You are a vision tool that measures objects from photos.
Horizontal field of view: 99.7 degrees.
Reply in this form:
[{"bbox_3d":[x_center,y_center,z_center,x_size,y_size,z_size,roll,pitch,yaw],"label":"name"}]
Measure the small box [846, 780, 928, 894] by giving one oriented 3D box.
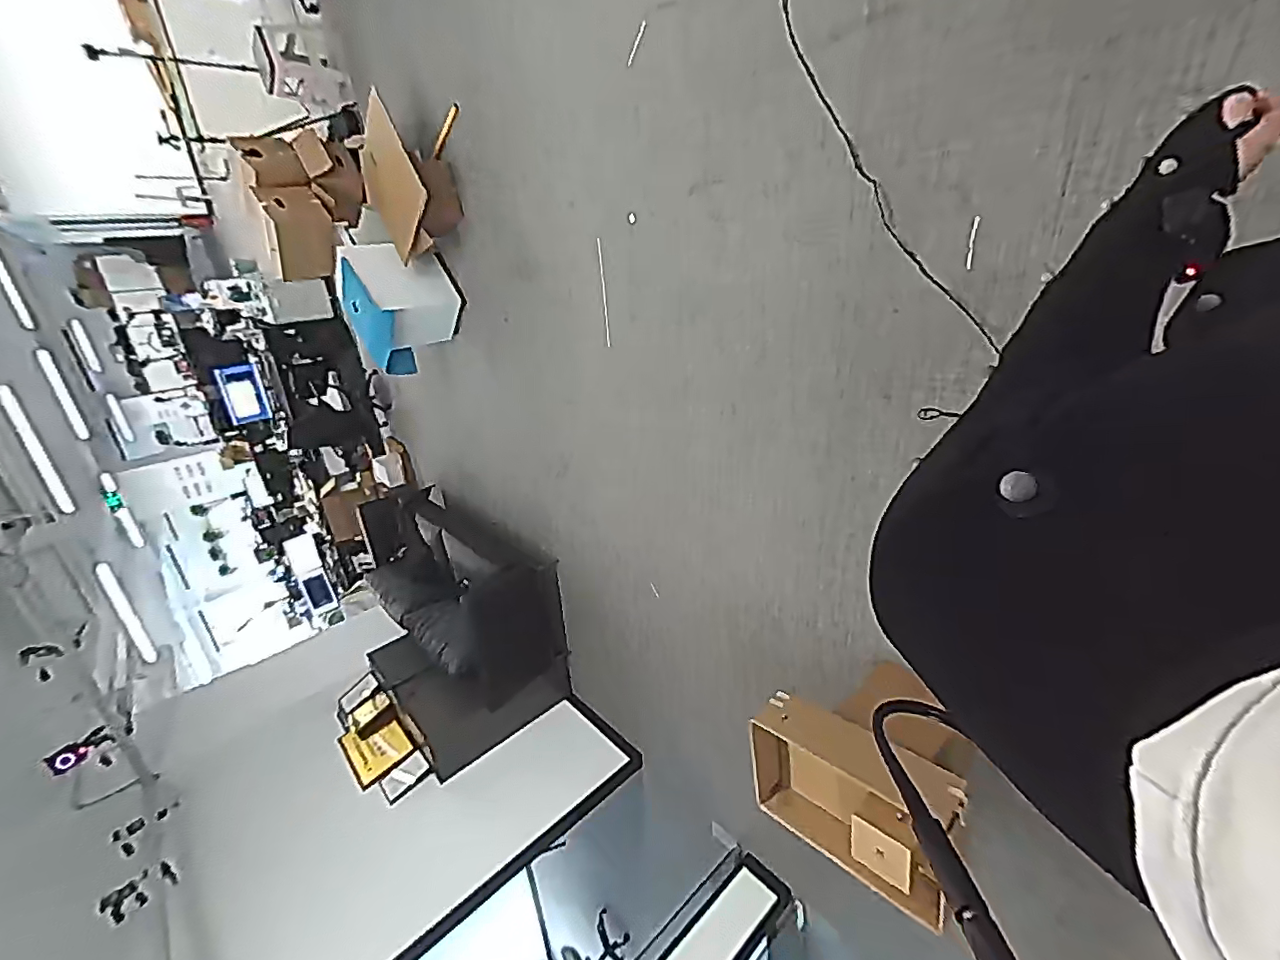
[{"bbox_3d":[0.708,1.011,1.549,0.168,0.176,0.179,12,118,46],"label":"small box"}]
